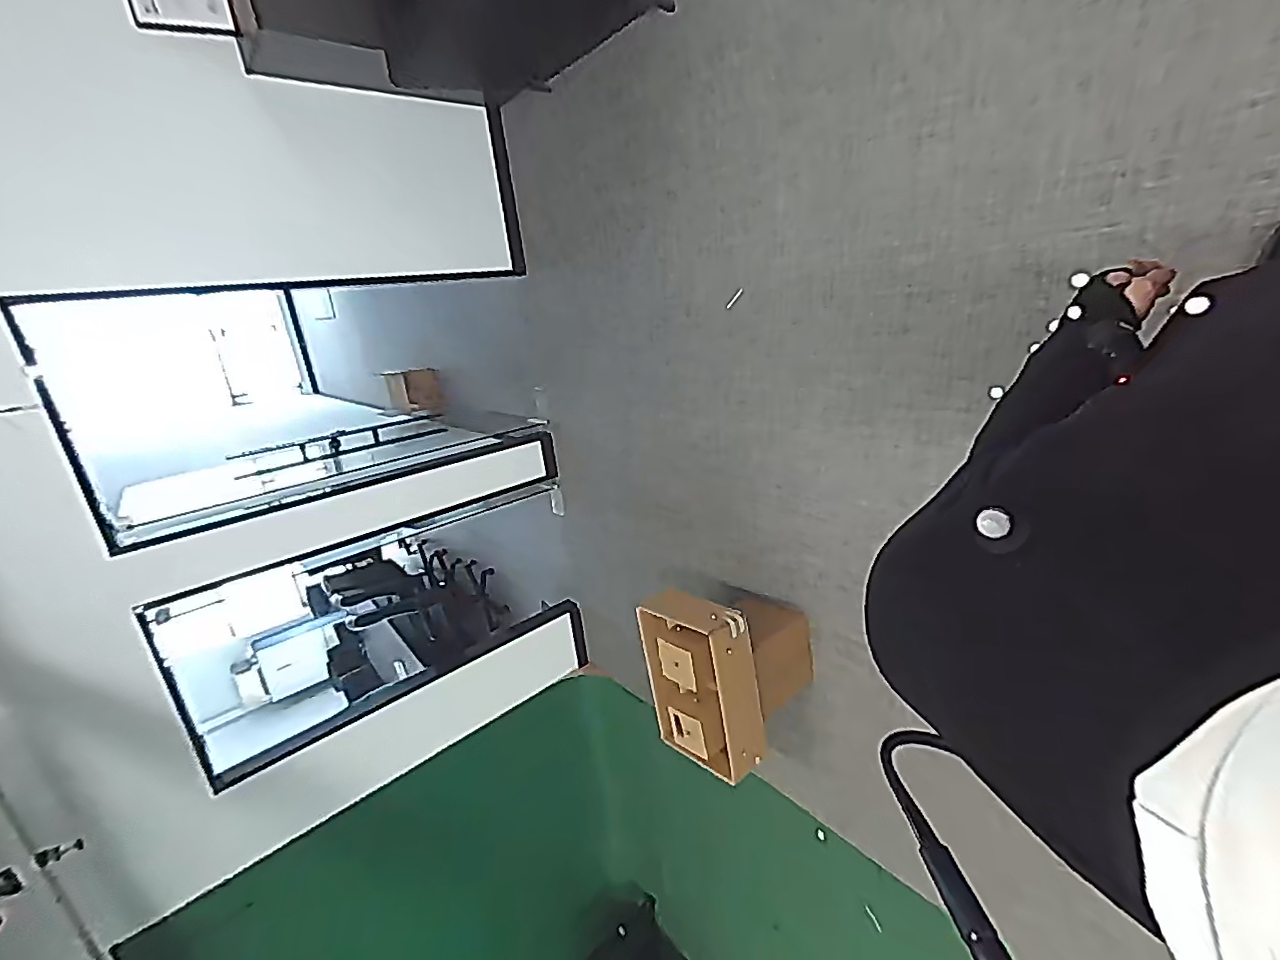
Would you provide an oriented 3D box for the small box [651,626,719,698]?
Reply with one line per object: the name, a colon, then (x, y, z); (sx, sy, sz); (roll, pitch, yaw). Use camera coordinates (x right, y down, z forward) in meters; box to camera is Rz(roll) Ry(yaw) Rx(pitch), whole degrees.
small box: (0.166, 0.656, 1.974); (0.179, 0.176, 0.168); (8, 112, 49)
